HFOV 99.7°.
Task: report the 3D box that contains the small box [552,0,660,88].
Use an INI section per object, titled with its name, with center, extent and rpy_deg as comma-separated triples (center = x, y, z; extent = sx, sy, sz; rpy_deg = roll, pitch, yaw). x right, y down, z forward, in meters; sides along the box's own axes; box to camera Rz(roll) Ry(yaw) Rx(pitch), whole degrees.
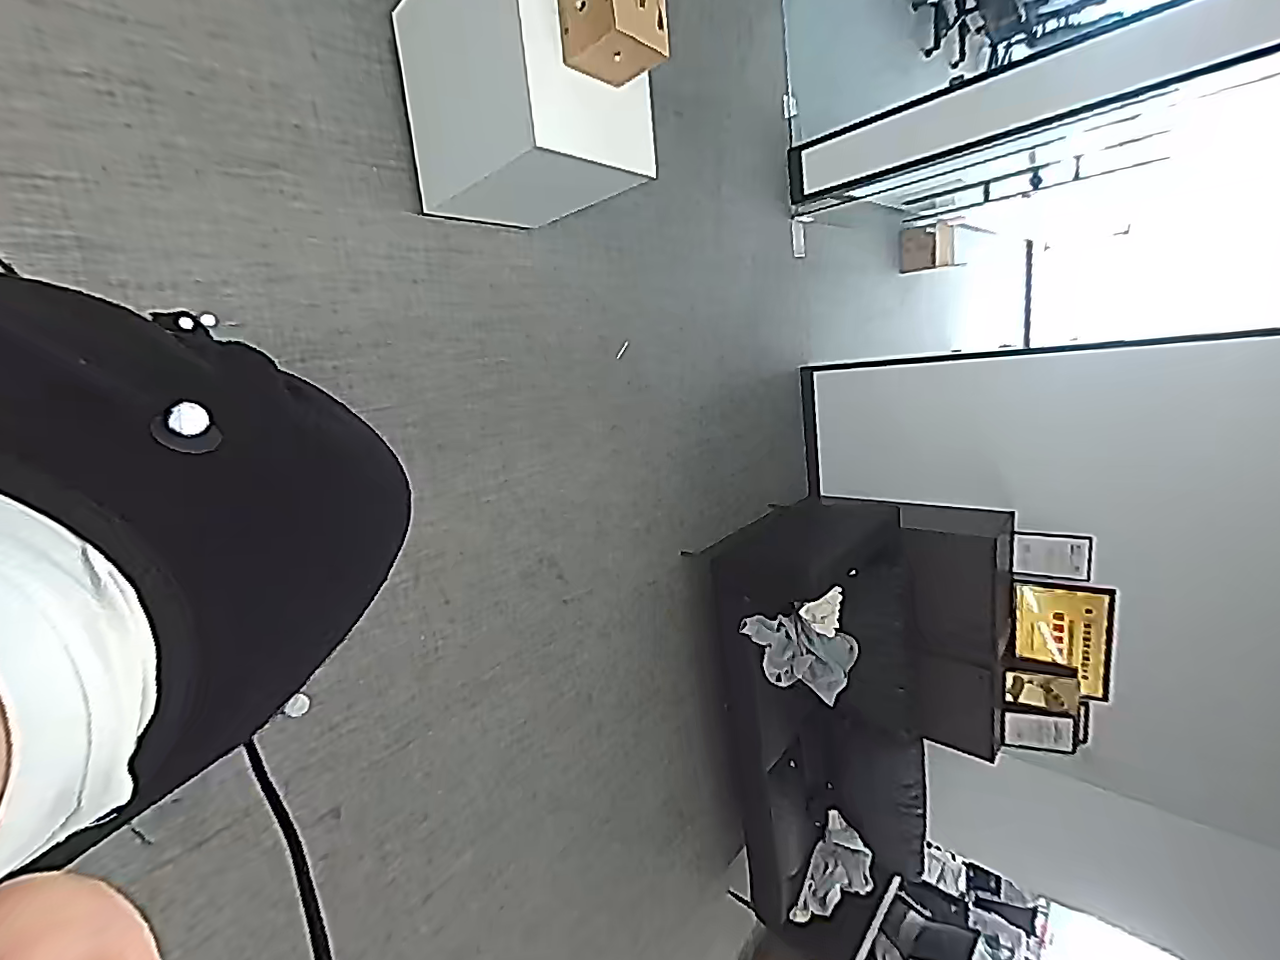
[small box]
center = -0.081, -1.019, 1.210
extent = 0.179, 0.176, 0.168
rpy_deg = -21, 108, -45
